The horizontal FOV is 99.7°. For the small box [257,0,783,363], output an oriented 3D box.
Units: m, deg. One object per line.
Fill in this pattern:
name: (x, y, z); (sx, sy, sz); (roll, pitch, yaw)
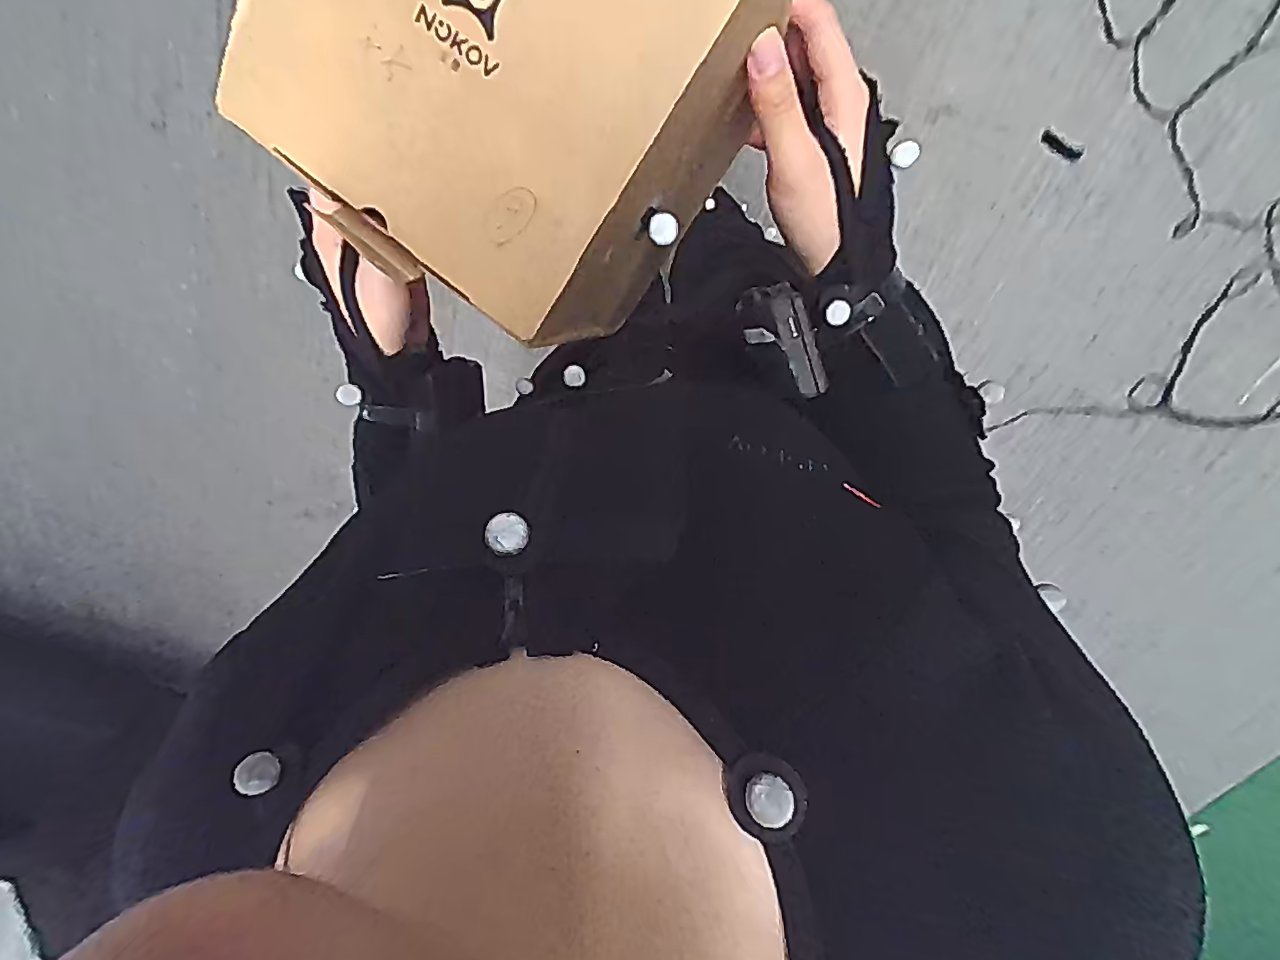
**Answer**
small box: (-0.042, -0.186, 0.286); (0.168, 0.176, 0.179); (38, 111, -2)
